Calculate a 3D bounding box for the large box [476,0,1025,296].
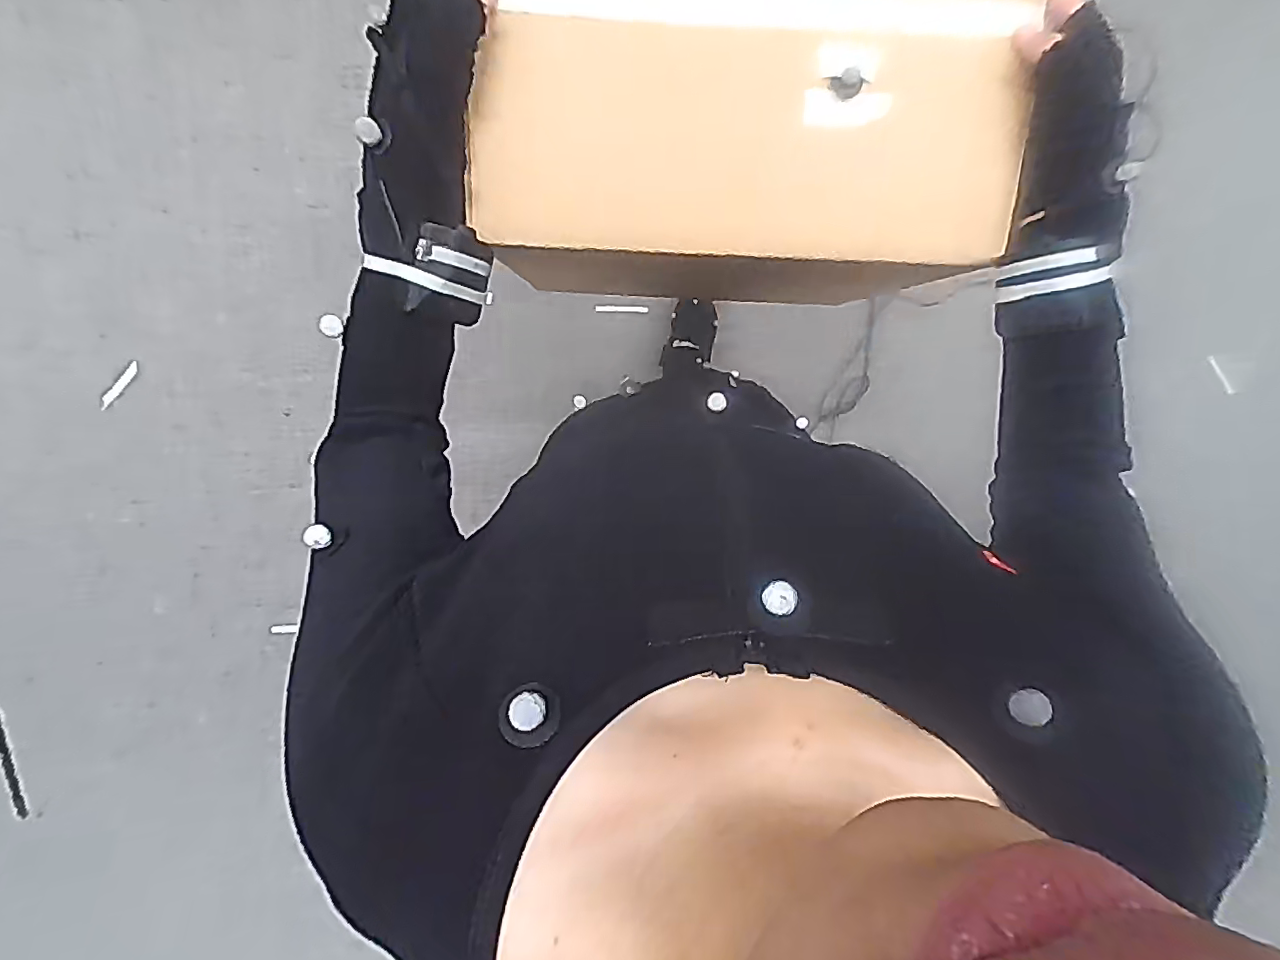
[{"bbox_3d":[0.074,-0.364,0.534,0.408,0.320,0.320,1,103,-3],"label":"large box"}]
